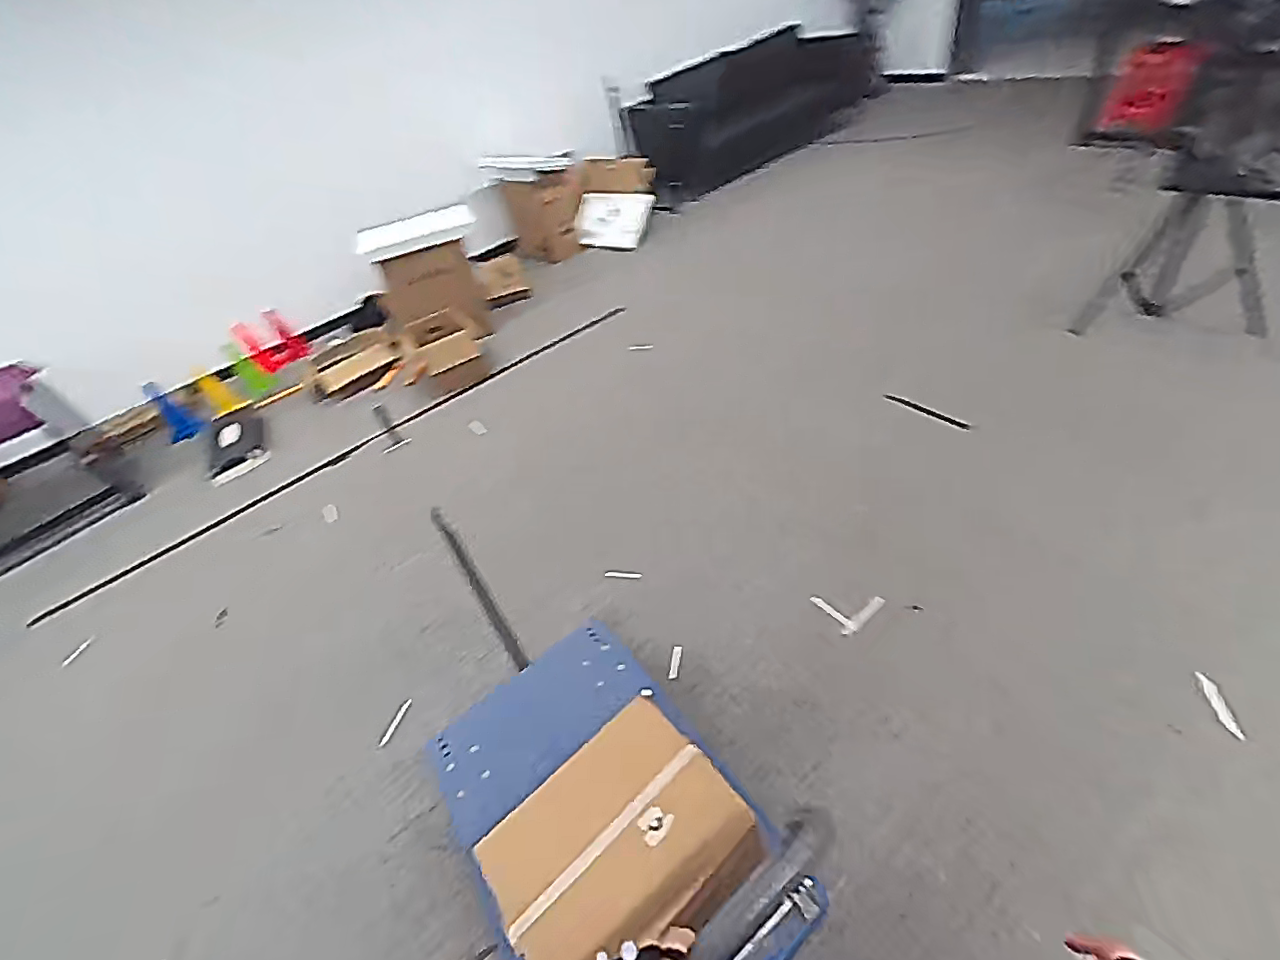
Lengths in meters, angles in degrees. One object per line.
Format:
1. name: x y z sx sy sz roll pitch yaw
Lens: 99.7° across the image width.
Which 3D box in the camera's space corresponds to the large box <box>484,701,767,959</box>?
1. large box: -0.009 0.730 1.027 0.408 0.320 0.320 -35 46 -22
